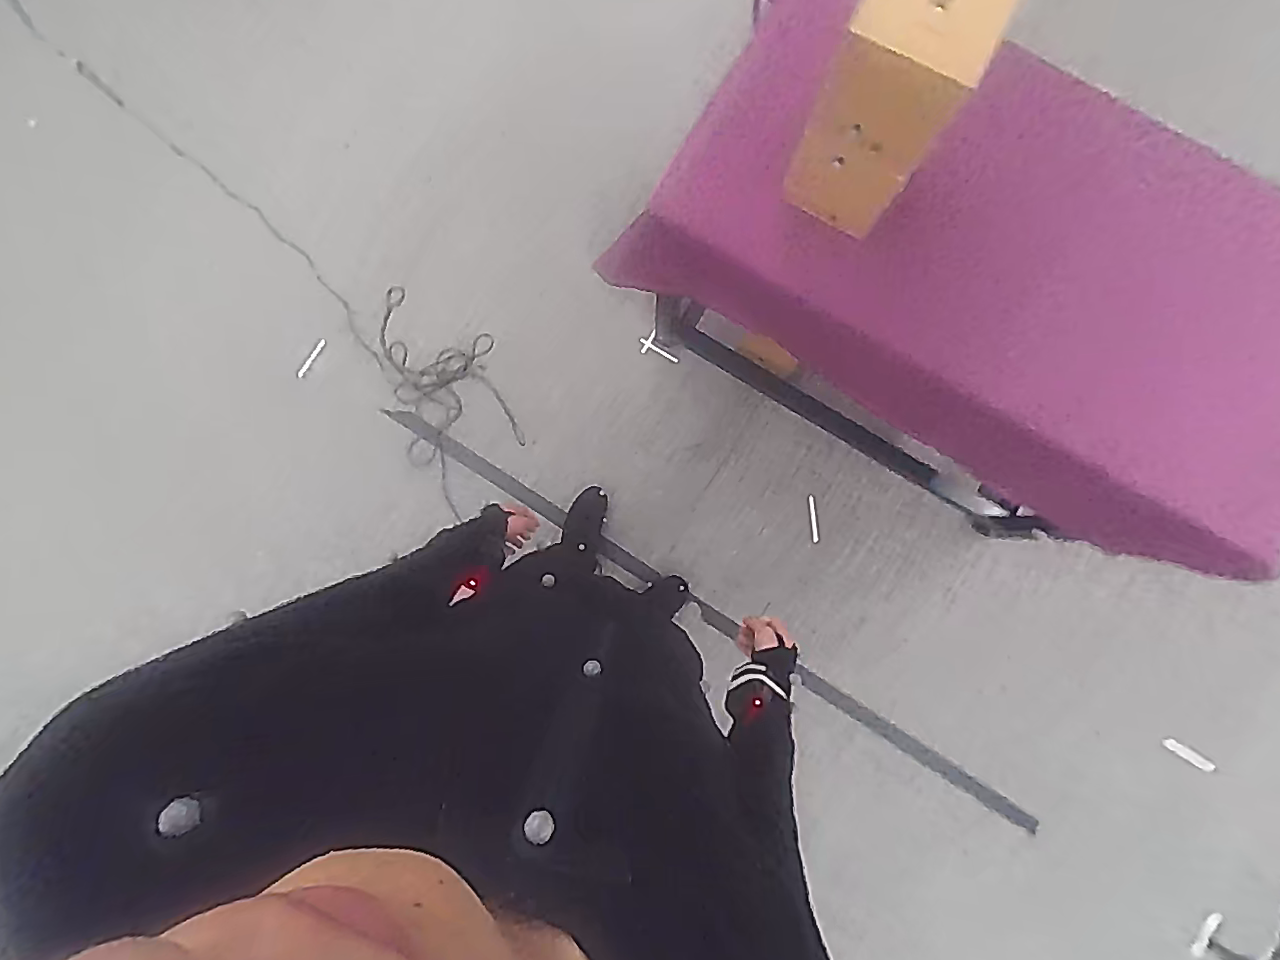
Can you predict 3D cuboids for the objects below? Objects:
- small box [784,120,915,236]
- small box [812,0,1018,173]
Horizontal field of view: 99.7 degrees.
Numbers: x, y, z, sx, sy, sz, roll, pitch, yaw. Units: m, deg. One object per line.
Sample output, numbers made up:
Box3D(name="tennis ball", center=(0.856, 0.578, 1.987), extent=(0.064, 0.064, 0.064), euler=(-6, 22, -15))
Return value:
Box3D(name="small box", center=(0.356, -0.542, 0.877), extent=(0.168, 0.176, 0.179), euler=(29, 86, 3))
Box3D(name="small box", center=(0.352, -0.559, 0.714), extent=(0.168, 0.176, 0.179), euler=(28, 87, 3))
